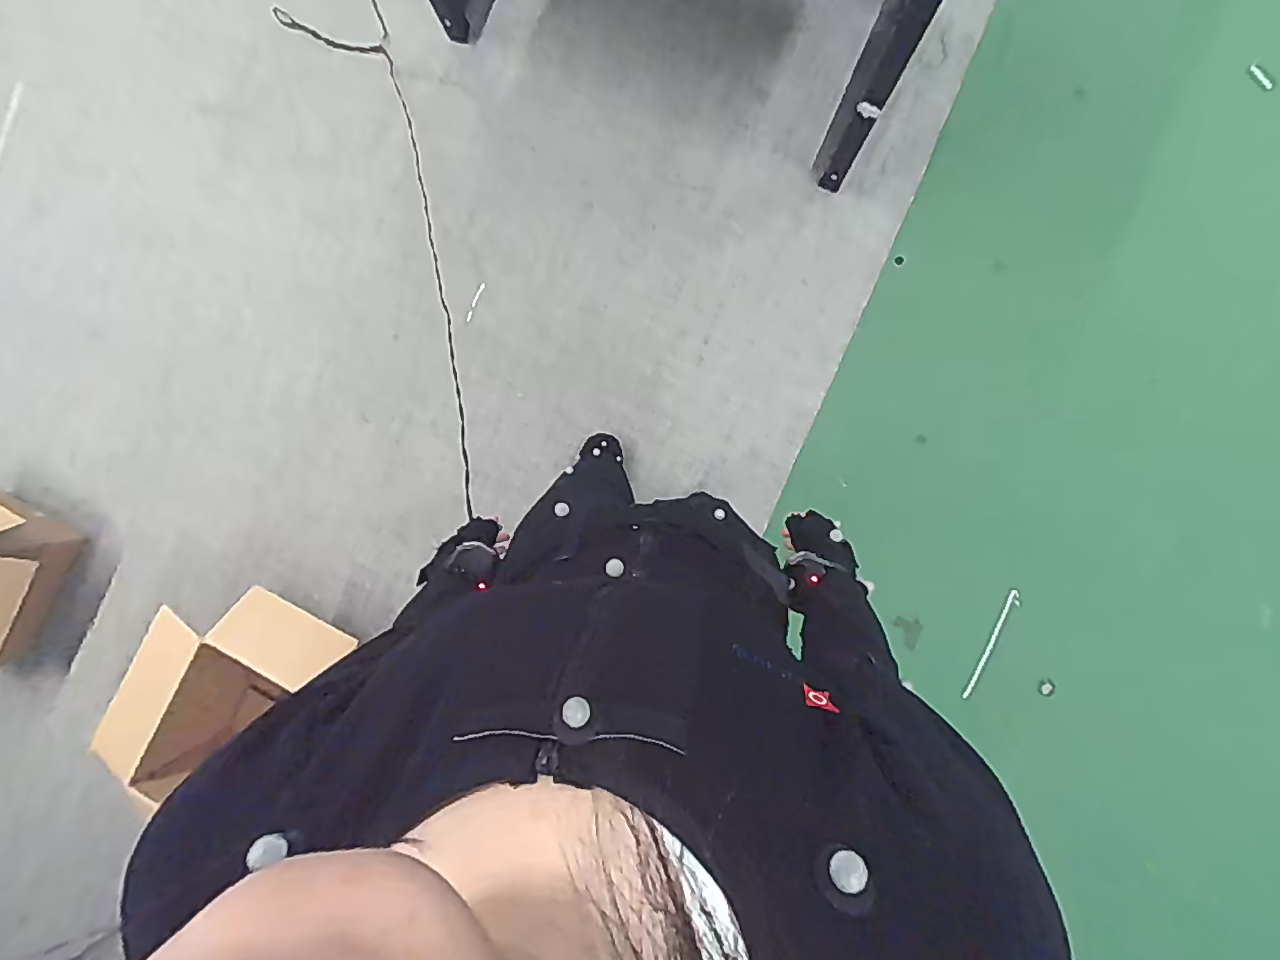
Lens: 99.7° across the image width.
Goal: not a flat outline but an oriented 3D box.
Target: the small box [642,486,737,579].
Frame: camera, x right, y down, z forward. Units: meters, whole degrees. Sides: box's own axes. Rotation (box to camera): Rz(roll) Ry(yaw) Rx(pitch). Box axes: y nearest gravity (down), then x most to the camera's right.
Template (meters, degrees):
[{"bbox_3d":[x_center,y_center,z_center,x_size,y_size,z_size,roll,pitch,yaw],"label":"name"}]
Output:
[{"bbox_3d":[0.121,0.138,1.407,0.179,0.176,0.168,-10,59,-18],"label":"small box"}]
